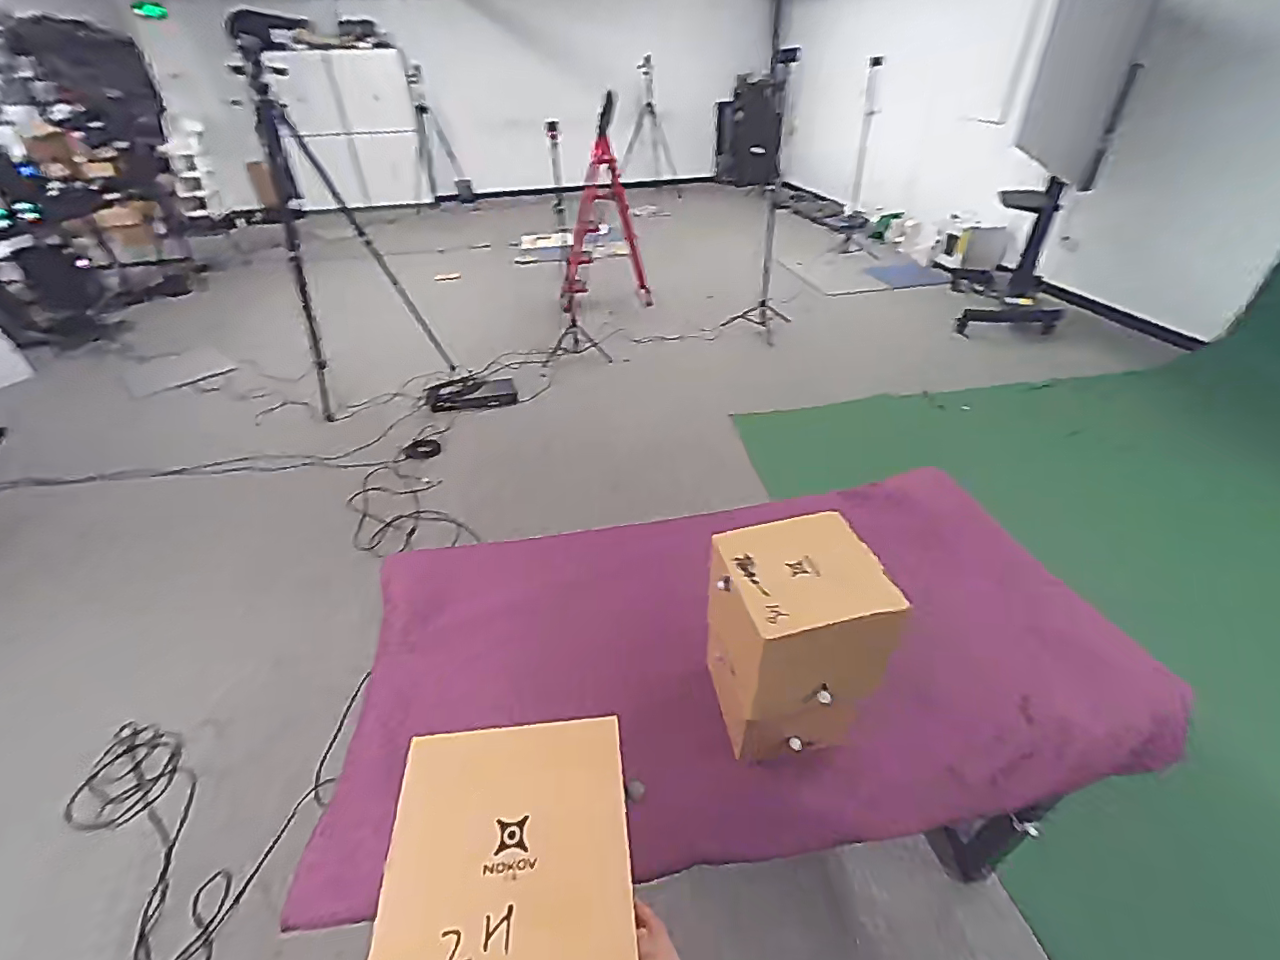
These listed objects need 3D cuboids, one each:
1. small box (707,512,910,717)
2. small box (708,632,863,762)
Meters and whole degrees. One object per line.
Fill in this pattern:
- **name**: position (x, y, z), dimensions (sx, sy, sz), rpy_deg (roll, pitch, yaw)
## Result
- **small box**: position (0.191, 0.166, 0.675), dimensions (0.179, 0.176, 0.168), rpy_deg (-9, 38, -9)
- **small box**: position (0.199, 0.279, 0.796), dimensions (0.168, 0.176, 0.179), rpy_deg (-7, 37, -6)
